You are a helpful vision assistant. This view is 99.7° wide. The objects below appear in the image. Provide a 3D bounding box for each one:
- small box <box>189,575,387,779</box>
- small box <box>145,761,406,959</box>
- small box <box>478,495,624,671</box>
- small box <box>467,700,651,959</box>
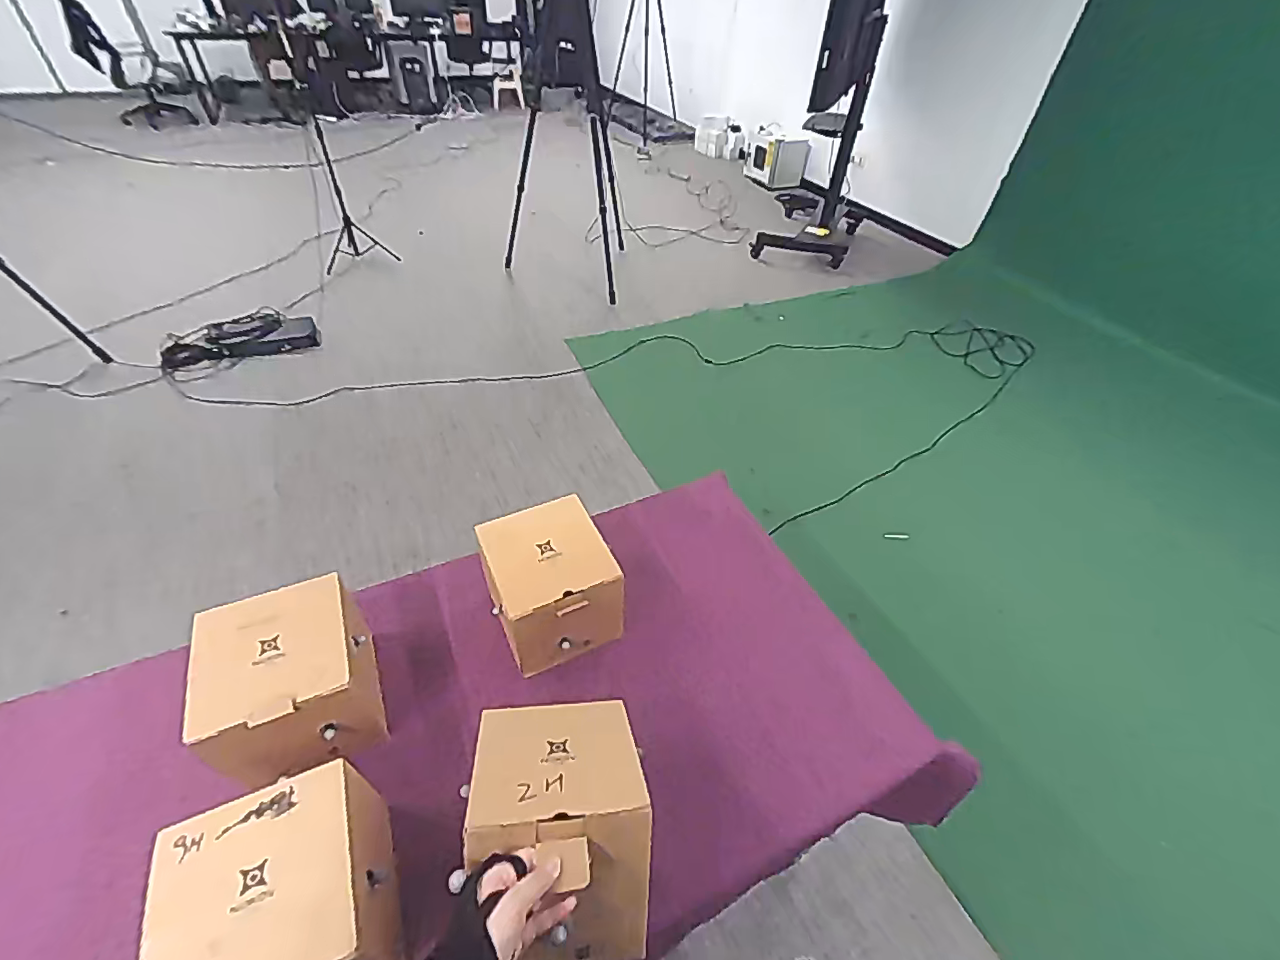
[{"bbox_3d":[-0.446,0.262,0.709,0.168,0.176,0.179,-16,48,-20],"label":"small box"},{"bbox_3d":[-0.350,0.427,0.545,0.168,0.176,0.179,-16,48,-20],"label":"small box"},{"bbox_3d":[-0.137,0.158,0.834,0.168,0.176,0.179,-19,49,-21],"label":"small box"},{"bbox_3d":[-0.087,0.362,0.571,0.168,0.176,0.179,-1,11,-11],"label":"small box"}]
